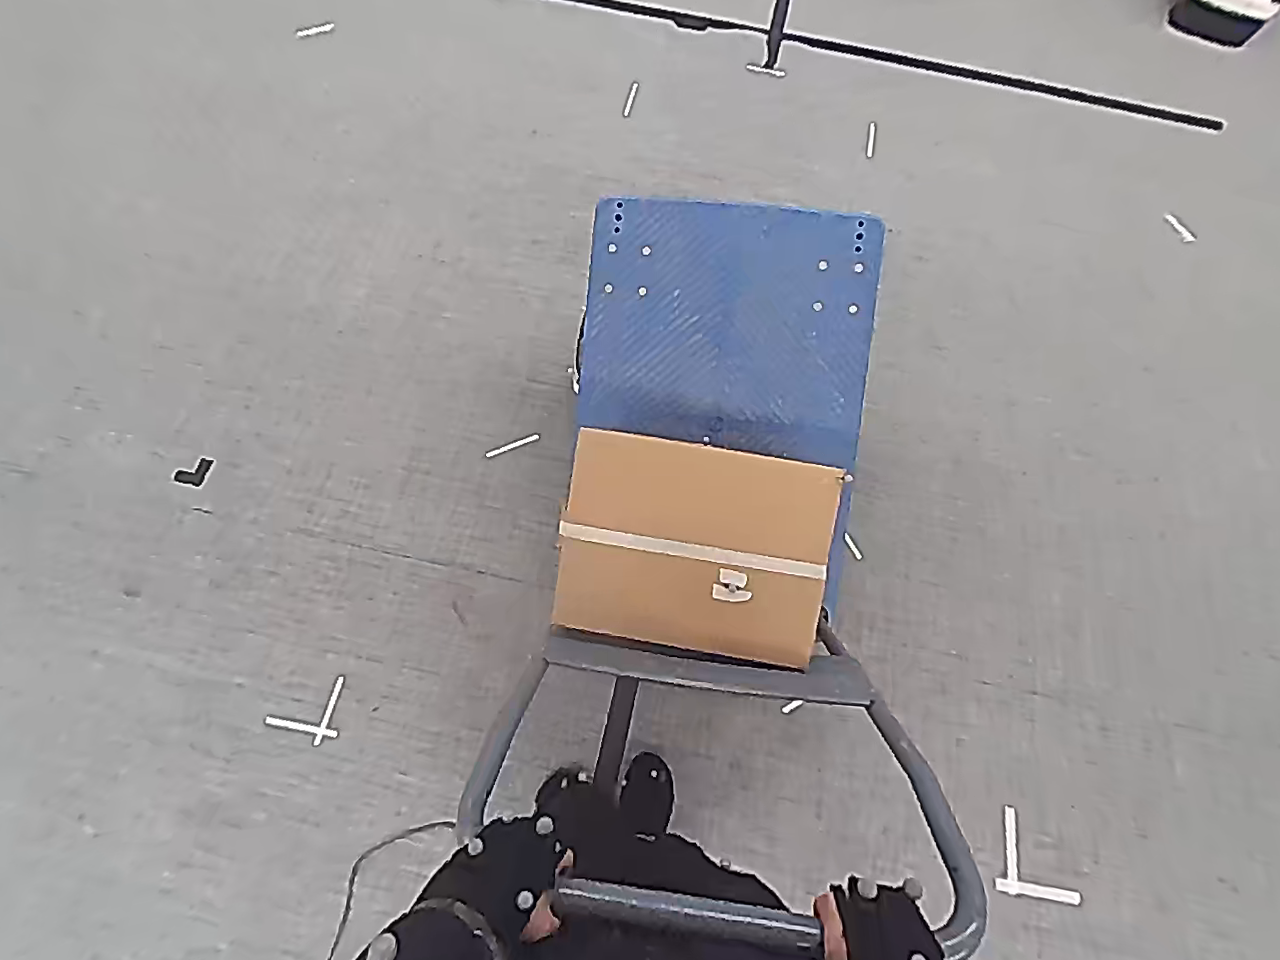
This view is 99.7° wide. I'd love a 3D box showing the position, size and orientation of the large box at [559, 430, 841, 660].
[{"bbox_3d":[0.092,0.092,0.977,0.408,0.320,0.320,9,95,2],"label":"large box"}]
